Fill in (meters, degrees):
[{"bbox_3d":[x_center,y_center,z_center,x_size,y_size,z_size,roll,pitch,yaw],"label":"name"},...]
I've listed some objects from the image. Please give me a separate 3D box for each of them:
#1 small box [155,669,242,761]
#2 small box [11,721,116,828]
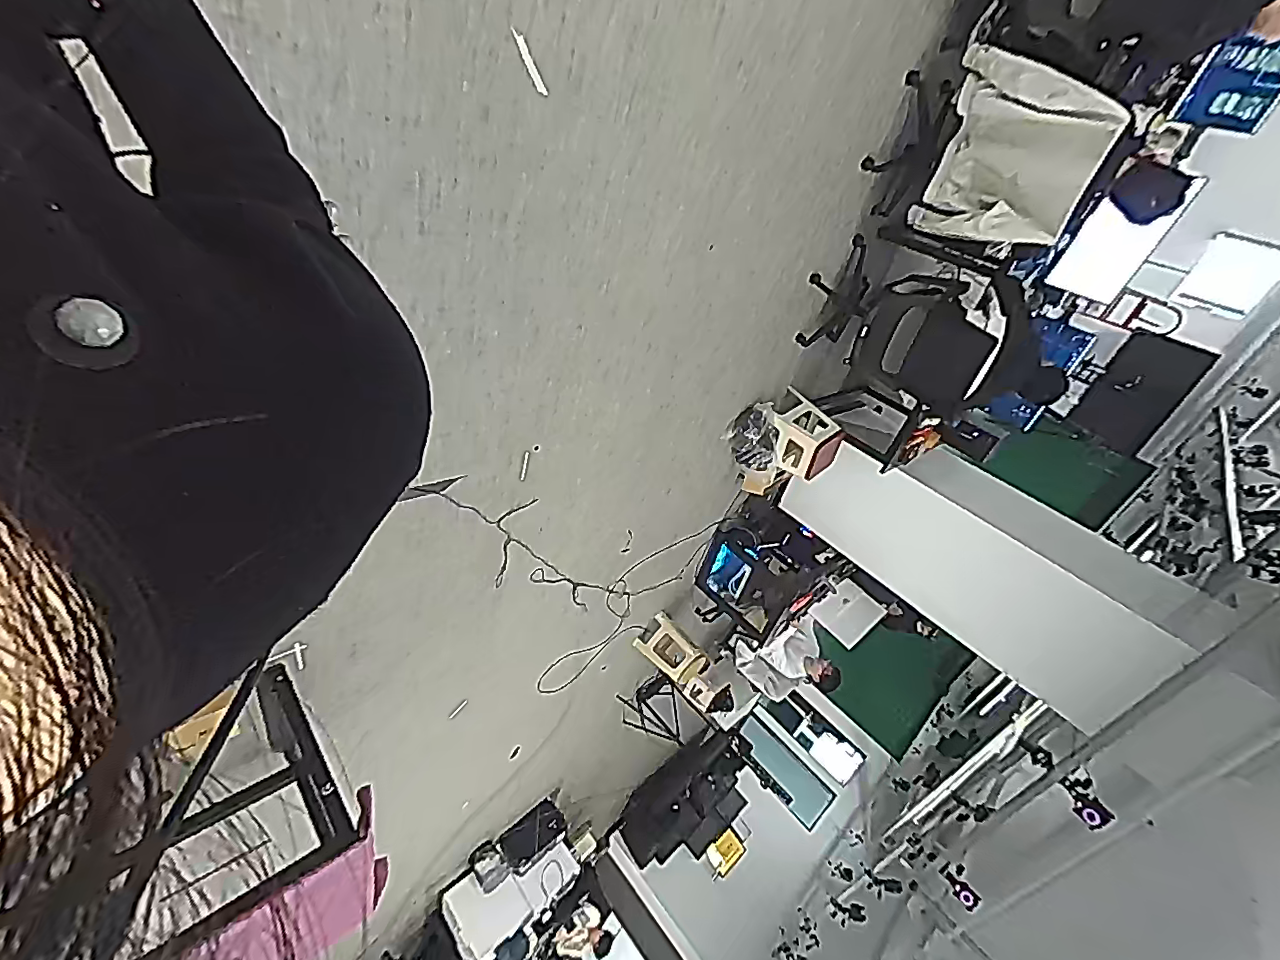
[{"bbox_3d":[-1.406,0.740,1.723,0.179,0.176,0.168,-16,134,-43],"label":"small box"},{"bbox_3d":[-1.623,0.823,1.526,0.168,0.176,0.179,-19,137,-42],"label":"small box"}]
